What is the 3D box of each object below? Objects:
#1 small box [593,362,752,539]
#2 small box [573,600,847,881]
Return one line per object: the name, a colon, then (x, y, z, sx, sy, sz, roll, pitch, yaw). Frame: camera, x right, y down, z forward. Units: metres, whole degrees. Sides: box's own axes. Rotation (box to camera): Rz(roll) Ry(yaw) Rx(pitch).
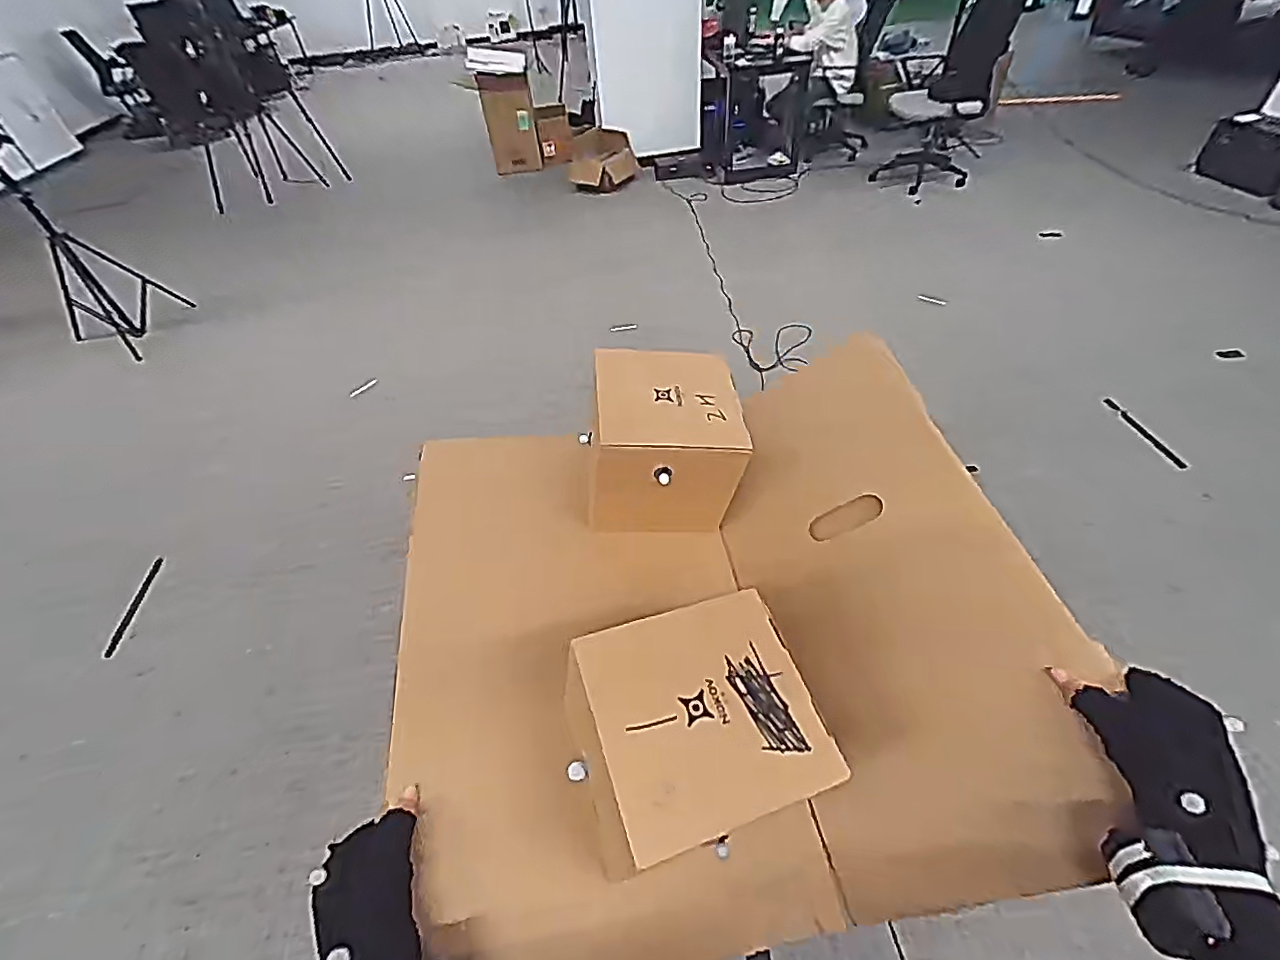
small box: (0.028, -0.034, 0.713, 0.179, 0.176, 0.168, 2, 51, -9)
small box: (0.043, 0.236, 0.492, 0.179, 0.176, 0.168, -11, 54, -18)
